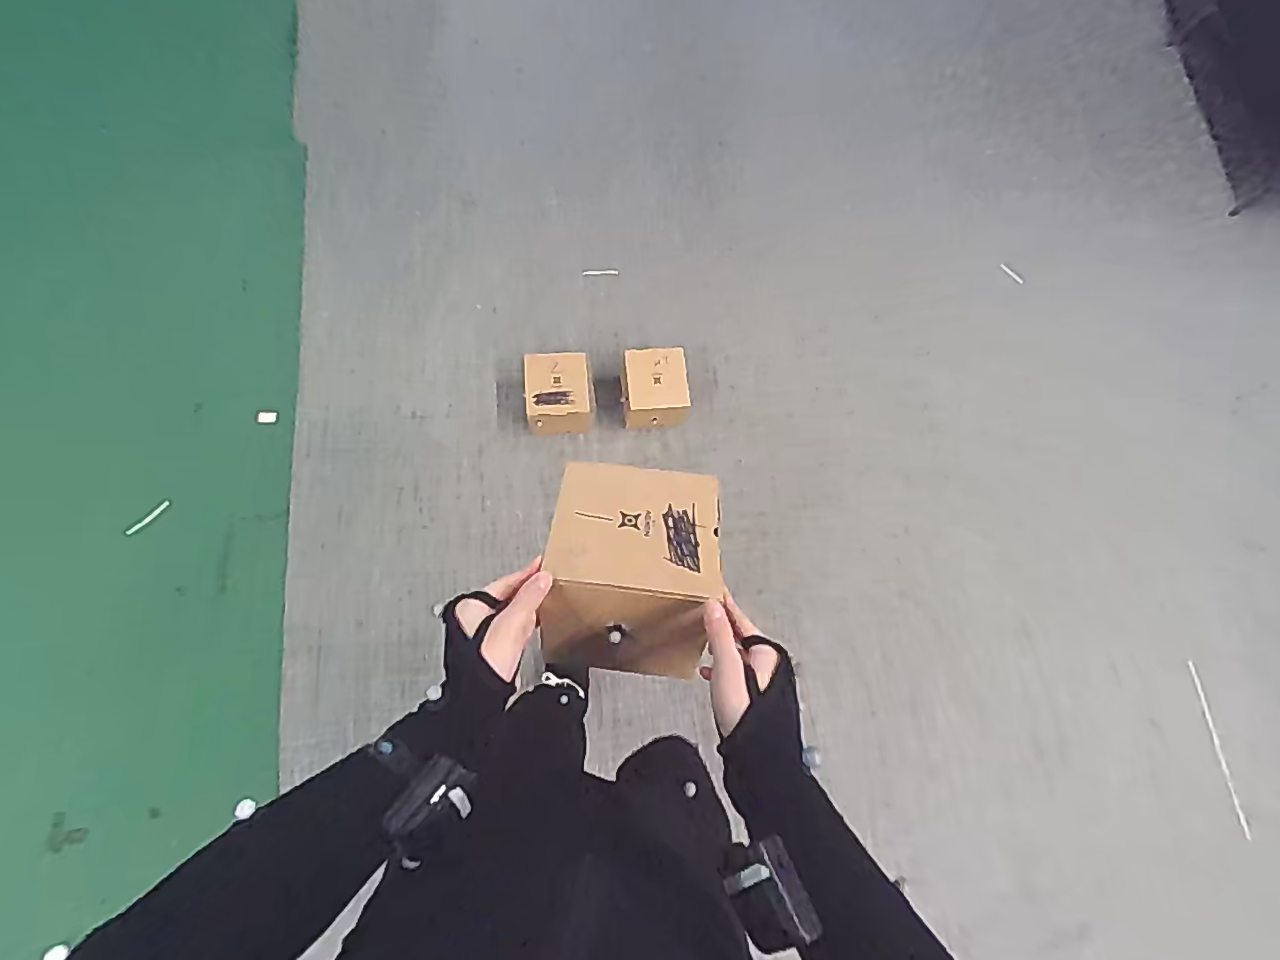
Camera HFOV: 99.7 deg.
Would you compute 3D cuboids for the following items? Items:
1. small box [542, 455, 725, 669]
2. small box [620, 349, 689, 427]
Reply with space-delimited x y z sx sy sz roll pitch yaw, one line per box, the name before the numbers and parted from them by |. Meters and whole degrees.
small box | -0.008 0.097 0.616 0.179 0.176 0.168 7 44 -1
small box | 0.036 -0.253 1.533 0.168 0.176 0.179 -4 77 -8
